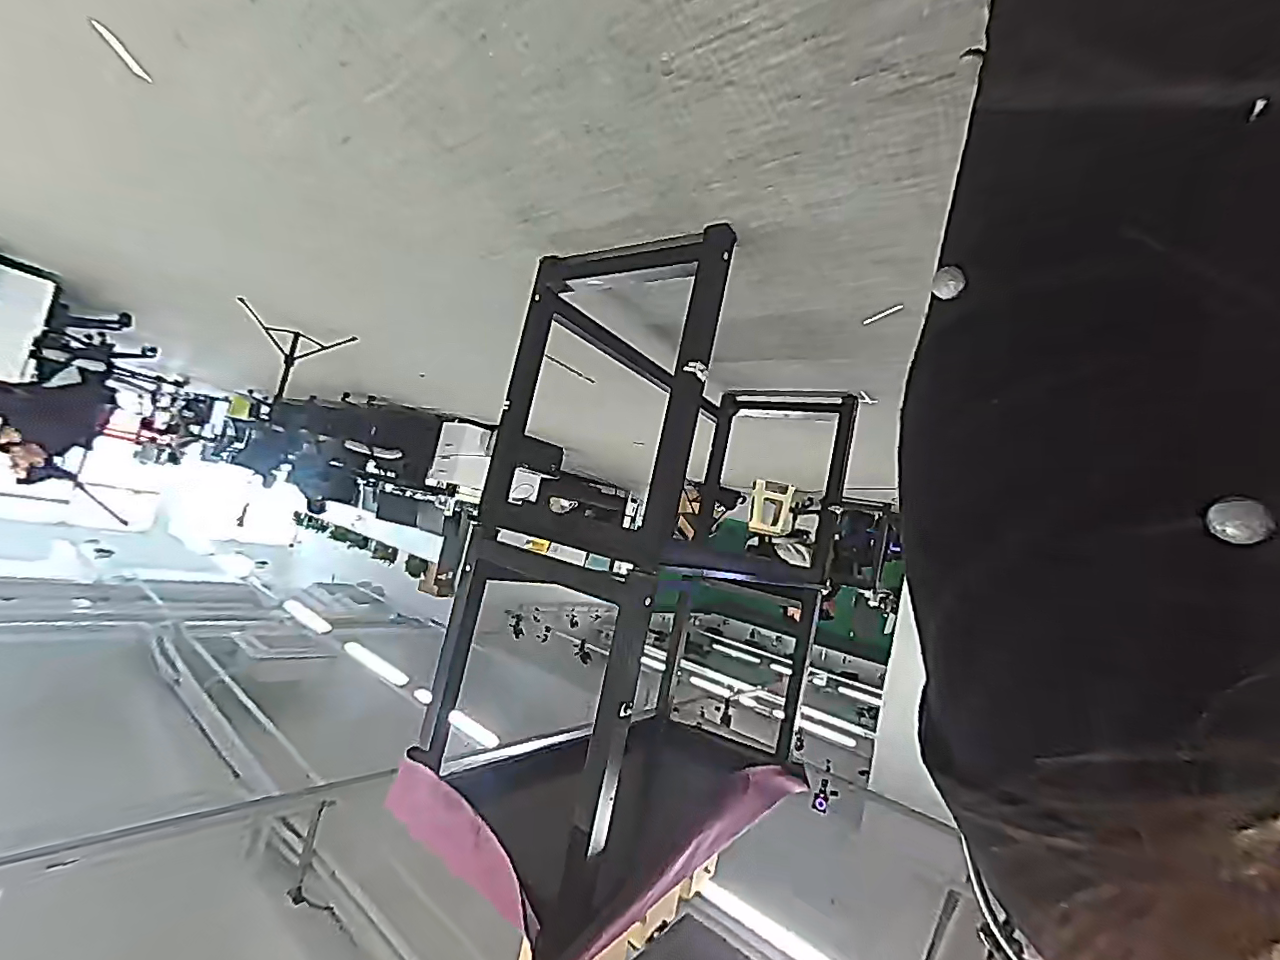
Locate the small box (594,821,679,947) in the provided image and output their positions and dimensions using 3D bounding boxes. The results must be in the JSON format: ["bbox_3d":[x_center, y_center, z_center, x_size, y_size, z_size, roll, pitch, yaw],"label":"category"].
[{"bbox_3d":[-0.014,1.027,1.393,0.179,0.176,0.168,10,175,36],"label":"small box"}]

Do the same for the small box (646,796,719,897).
[{"bbox_3d":[0.121,1.075,1.607,0.168,0.176,0.179,9,174,32],"label":"small box"}]

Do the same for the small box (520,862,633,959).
[{"bbox_3d":[-0.137,0.983,1.179,0.168,0.176,0.179,11,176,32],"label":"small box"}]
